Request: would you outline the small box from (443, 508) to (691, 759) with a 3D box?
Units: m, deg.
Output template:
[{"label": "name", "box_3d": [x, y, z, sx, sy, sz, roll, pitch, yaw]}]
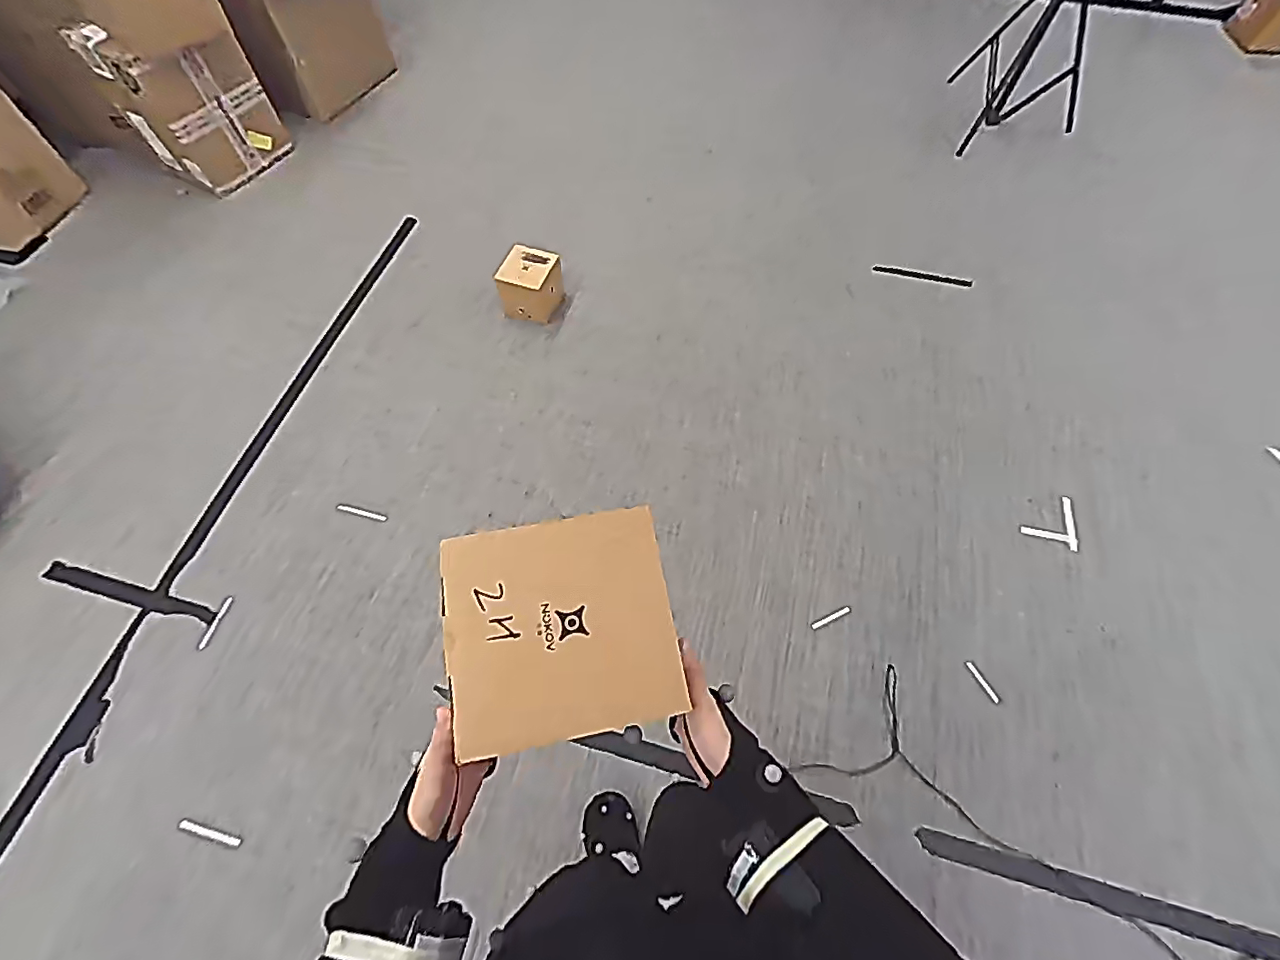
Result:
[{"label": "small box", "box_3d": [-0.067, 0.137, 0.495, 0.179, 0.176, 0.168, -9, 71, -8]}]
